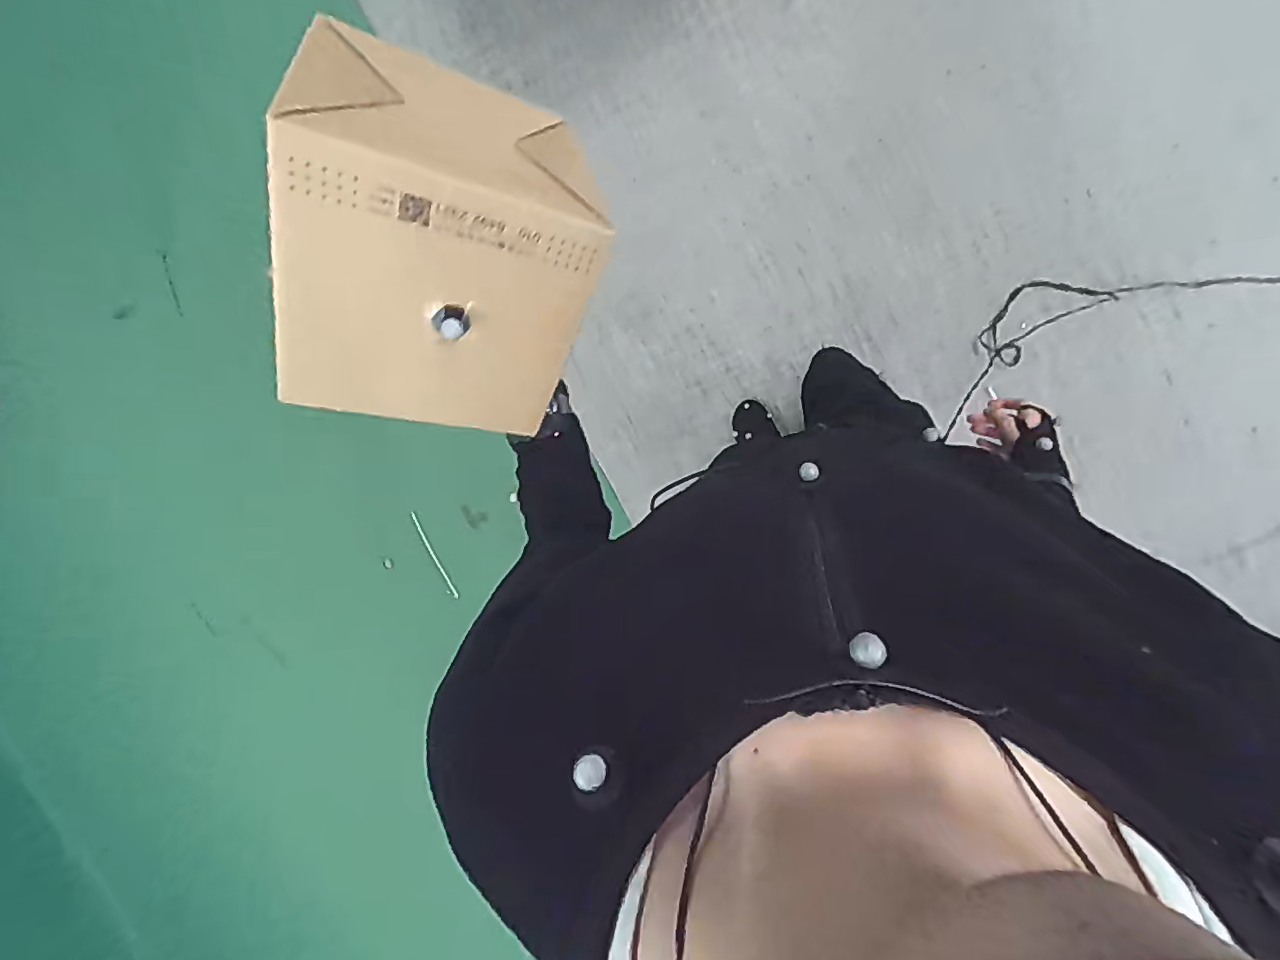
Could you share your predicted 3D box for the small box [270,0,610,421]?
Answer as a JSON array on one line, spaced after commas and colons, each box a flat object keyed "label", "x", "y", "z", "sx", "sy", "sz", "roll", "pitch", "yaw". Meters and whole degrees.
[{"label": "small box", "x": -0.133, "y": -0.167, "z": 0.357, "sx": 0.168, "sy": 0.179, "sz": 0.176, "roll": 7, "pitch": 137, "yaw": -28}]
